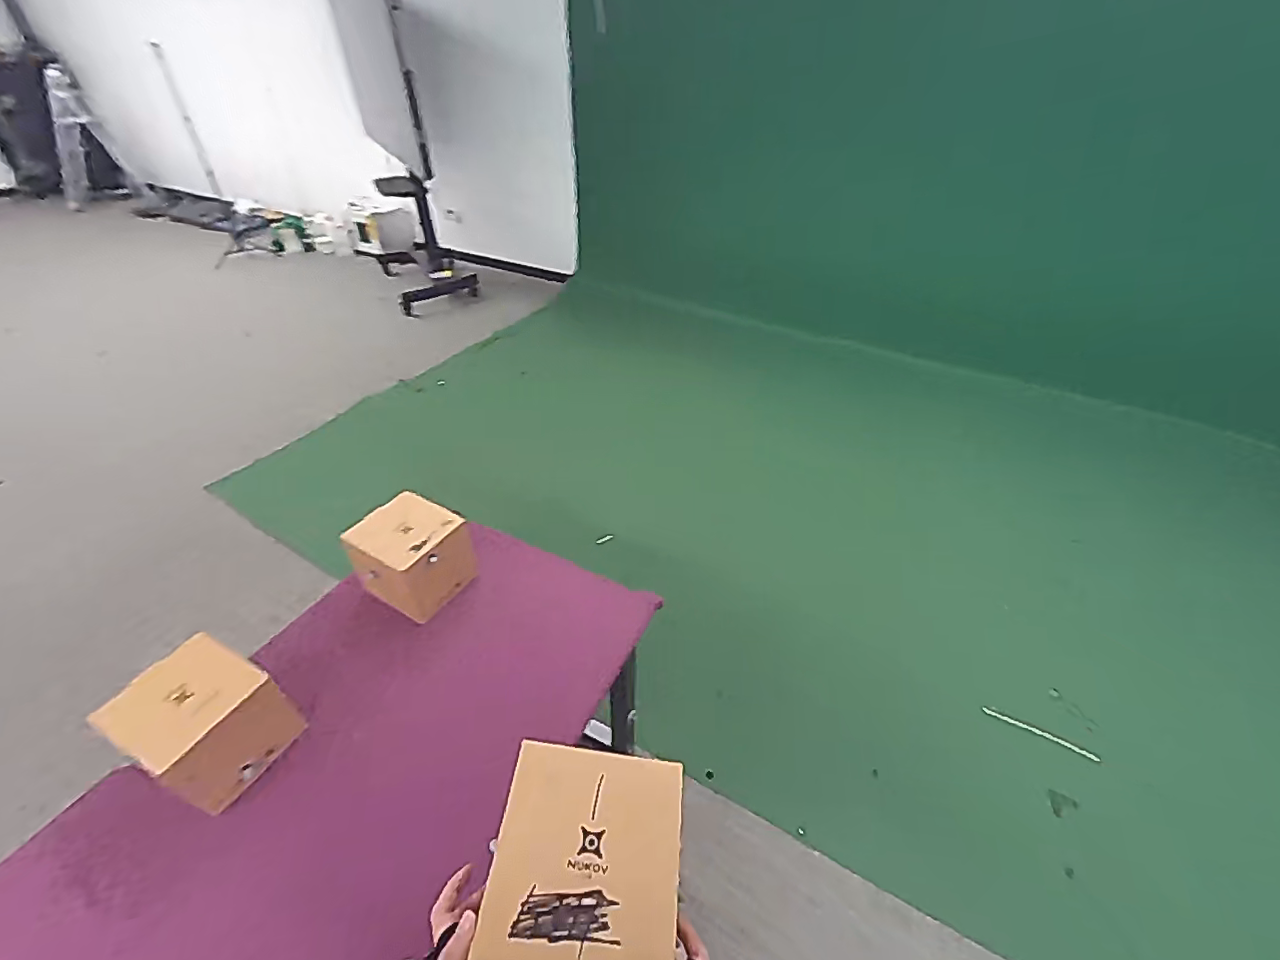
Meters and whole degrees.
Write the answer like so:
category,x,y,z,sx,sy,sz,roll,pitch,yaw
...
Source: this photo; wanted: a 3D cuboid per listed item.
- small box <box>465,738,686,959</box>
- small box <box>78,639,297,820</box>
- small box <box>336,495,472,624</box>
category,x,y,z,sx,sy,sz,roll,pitch,yaw
small box,-0.053,0.383,0.528,0.168,0.176,0.179,9,44,0
small box,-0.686,0.388,0.840,0.179,0.176,0.168,19,43,19
small box,-0.477,0.165,1.115,0.179,0.176,0.168,21,44,23
